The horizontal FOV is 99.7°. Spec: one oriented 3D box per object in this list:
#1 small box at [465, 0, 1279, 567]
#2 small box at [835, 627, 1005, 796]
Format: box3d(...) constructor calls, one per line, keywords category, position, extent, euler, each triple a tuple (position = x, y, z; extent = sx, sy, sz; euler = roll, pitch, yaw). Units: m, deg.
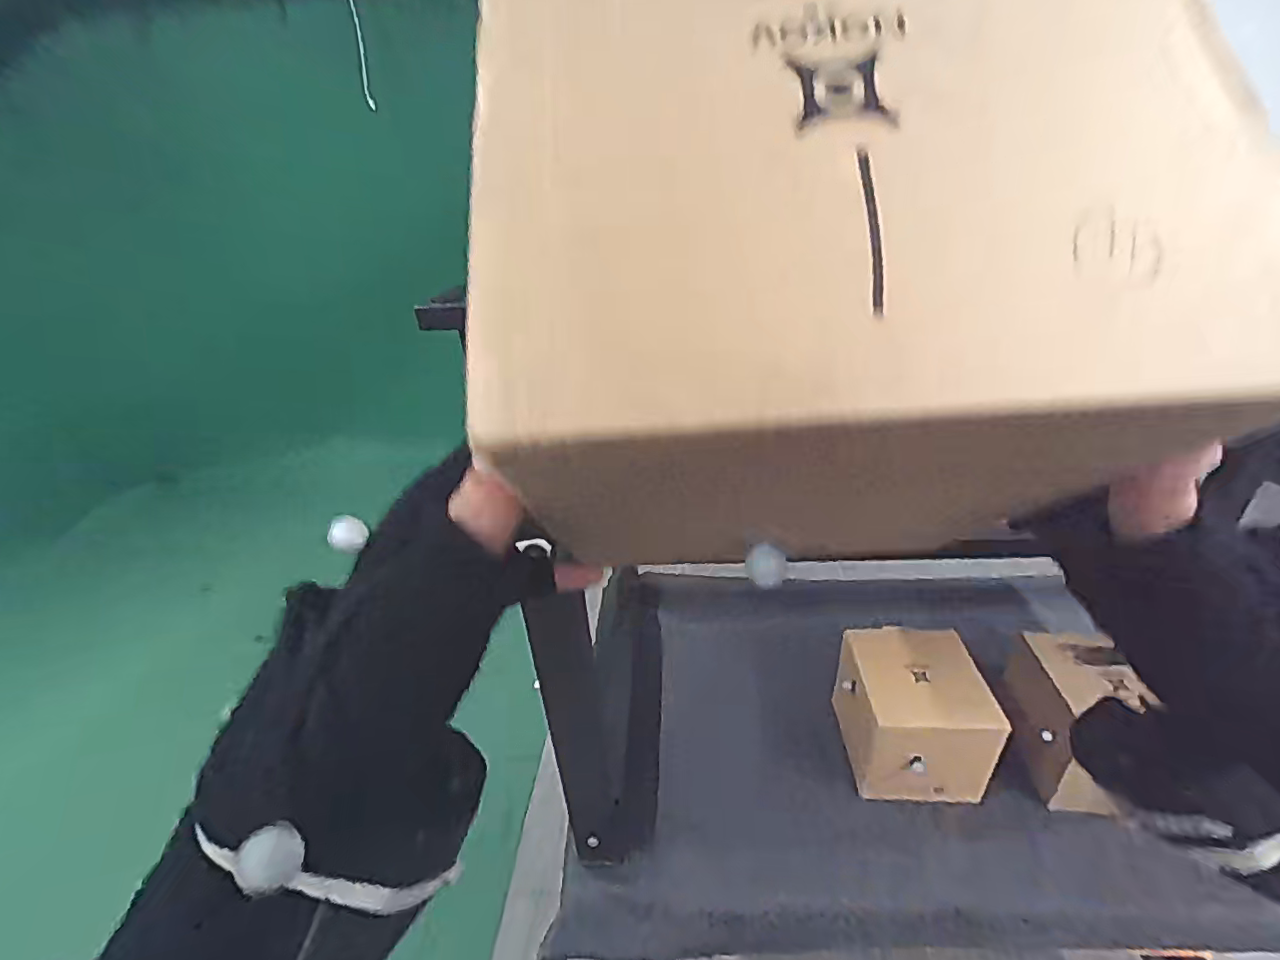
box3d(category="small box", position=(0.046, -0.069, 0.204), extent=(0.168, 0.176, 0.179), euler=(-4, 73, 1))
box3d(category="small box", position=(0.401, 0.343, 0.808), extent=(0.168, 0.176, 0.179), euler=(-2, 29, 5))
